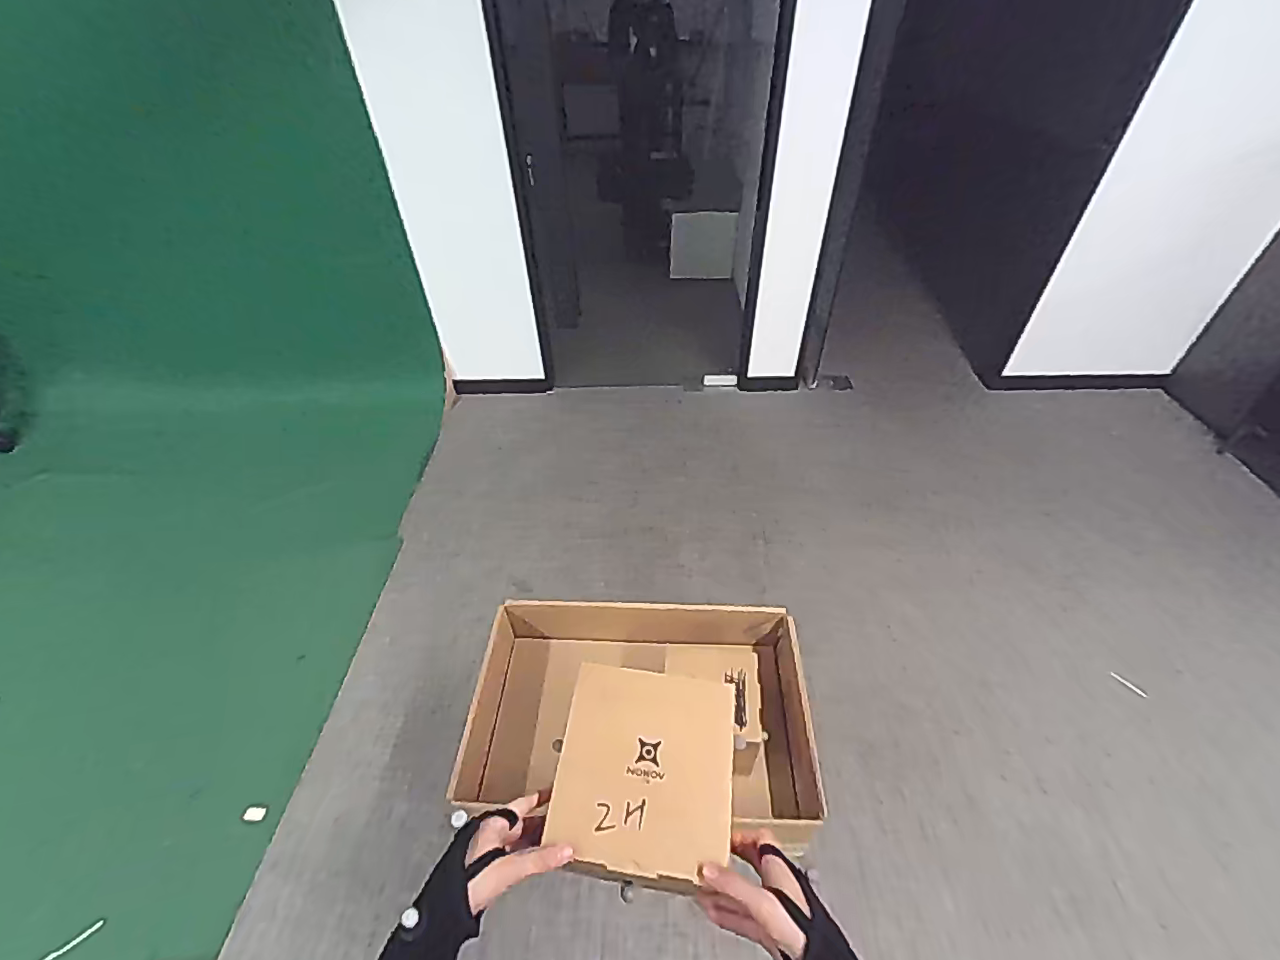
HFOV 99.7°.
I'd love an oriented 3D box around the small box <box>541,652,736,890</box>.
[{"bbox_3d":[0.004,0.310,0.575,0.168,0.176,0.179,7,50,5],"label":"small box"}]
